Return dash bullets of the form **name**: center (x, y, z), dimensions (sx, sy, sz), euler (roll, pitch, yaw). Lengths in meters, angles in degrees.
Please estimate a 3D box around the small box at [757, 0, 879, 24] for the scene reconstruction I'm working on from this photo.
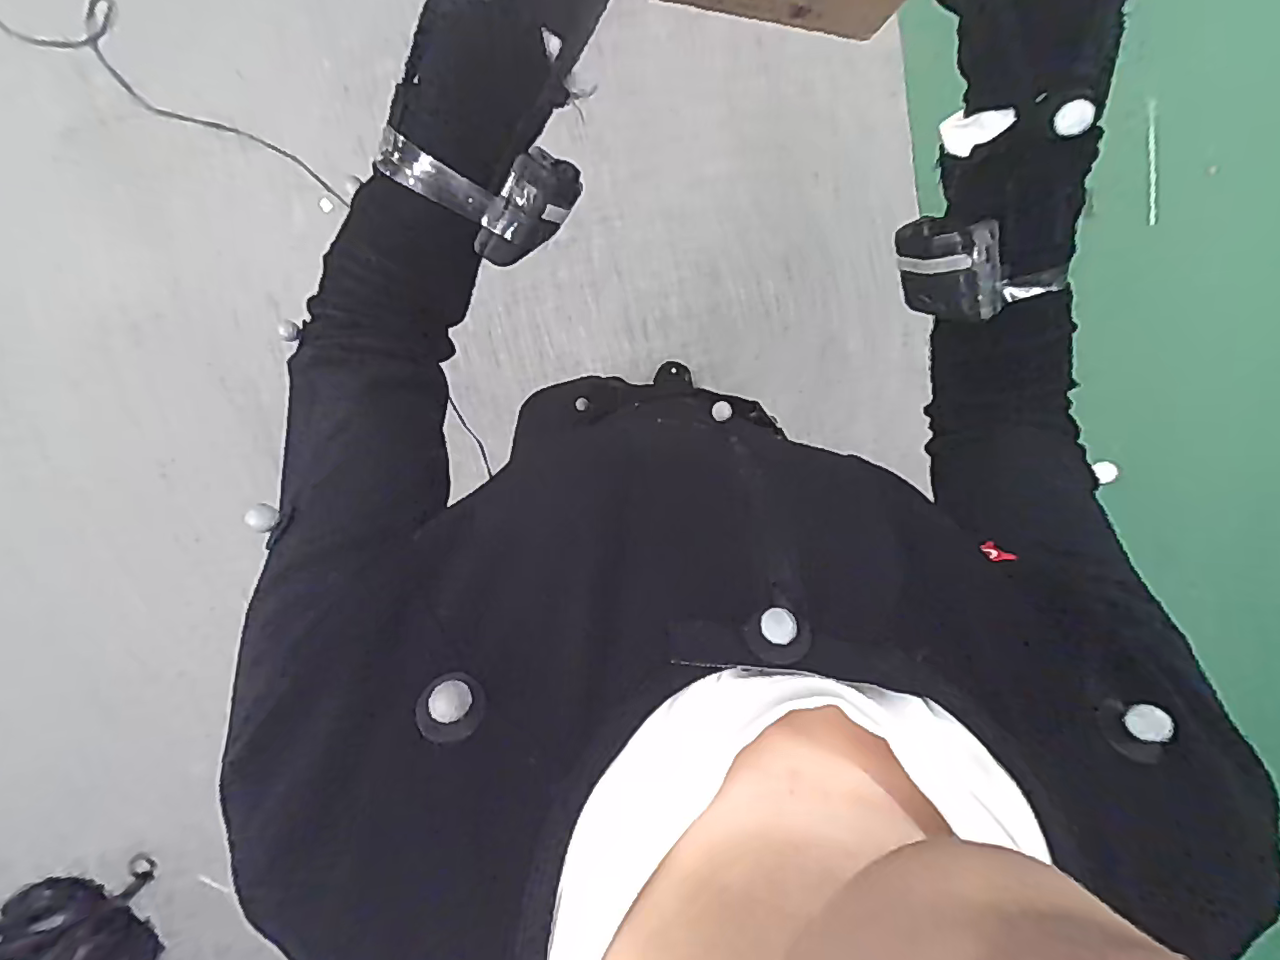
- **small box**: center (0.096, -0.388, 0.283), dimensions (0.168, 0.176, 0.179), euler (6, 107, -5)
